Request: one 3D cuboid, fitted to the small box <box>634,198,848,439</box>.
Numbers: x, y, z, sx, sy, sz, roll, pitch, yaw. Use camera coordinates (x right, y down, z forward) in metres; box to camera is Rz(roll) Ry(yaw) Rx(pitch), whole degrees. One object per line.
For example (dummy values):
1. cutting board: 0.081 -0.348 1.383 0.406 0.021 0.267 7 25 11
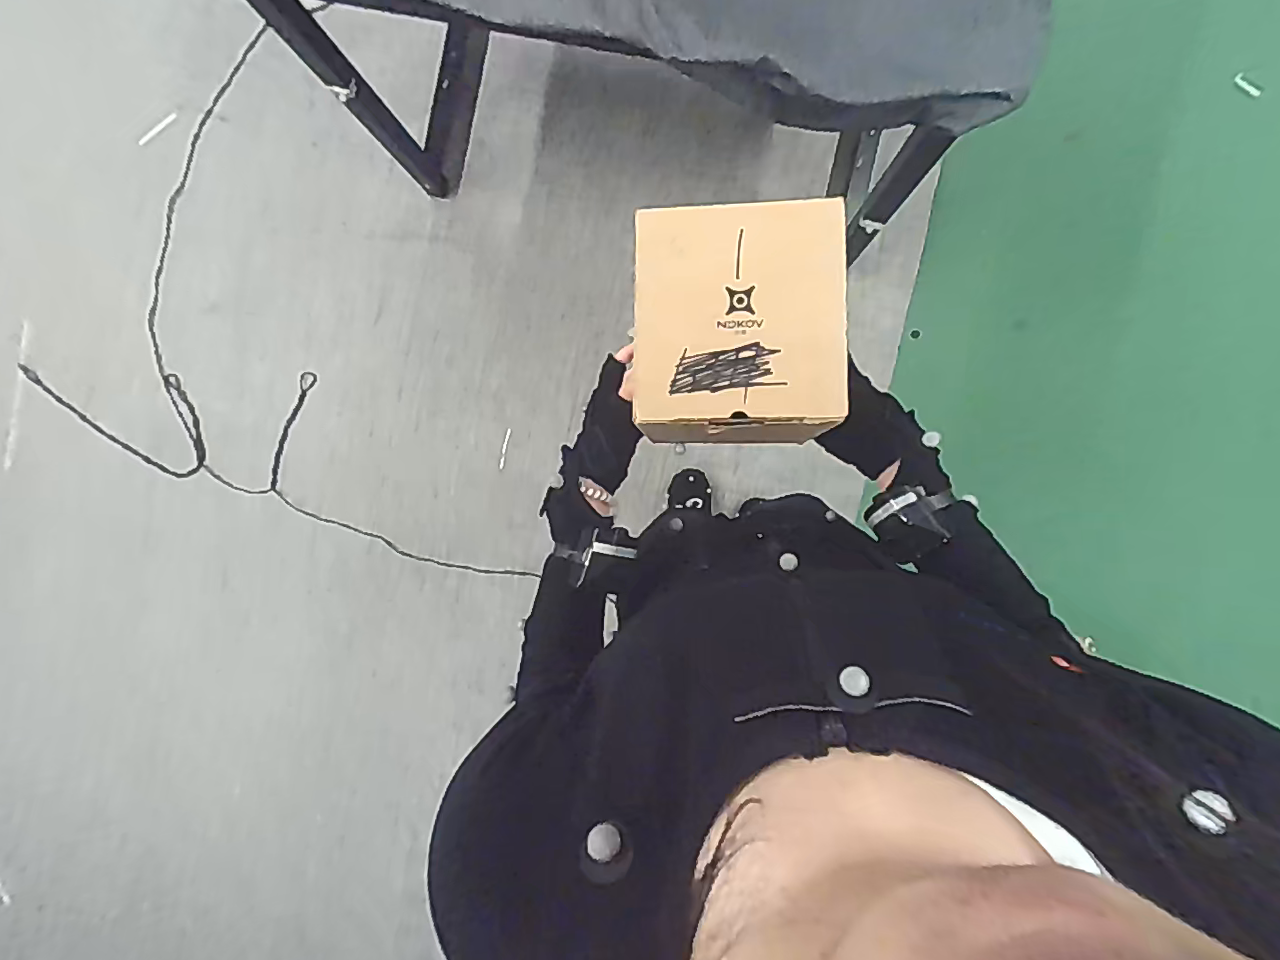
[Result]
1. small box: 0.086 -0.131 0.504 0.168 0.176 0.179 0 88 5
